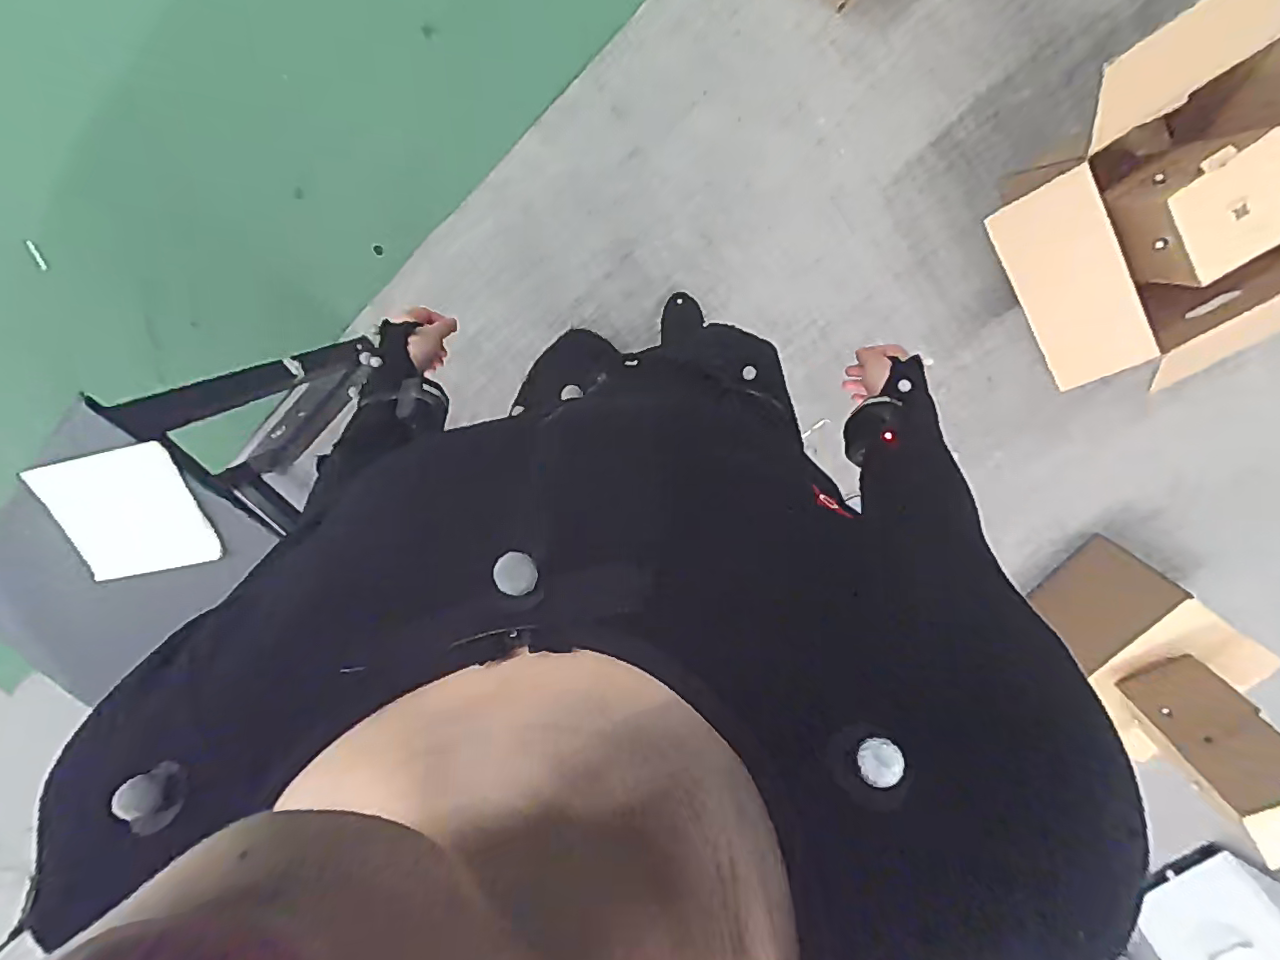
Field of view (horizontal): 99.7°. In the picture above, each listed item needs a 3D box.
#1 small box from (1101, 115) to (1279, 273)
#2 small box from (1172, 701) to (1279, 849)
[{"bbox_3d":[0.978,-0.492,0.956,0.168,0.176,0.179,-35,106,20],"label":"small box"},{"bbox_3d":[1.239,0.582,1.079,0.168,0.176,0.179,-35,107,18],"label":"small box"}]
